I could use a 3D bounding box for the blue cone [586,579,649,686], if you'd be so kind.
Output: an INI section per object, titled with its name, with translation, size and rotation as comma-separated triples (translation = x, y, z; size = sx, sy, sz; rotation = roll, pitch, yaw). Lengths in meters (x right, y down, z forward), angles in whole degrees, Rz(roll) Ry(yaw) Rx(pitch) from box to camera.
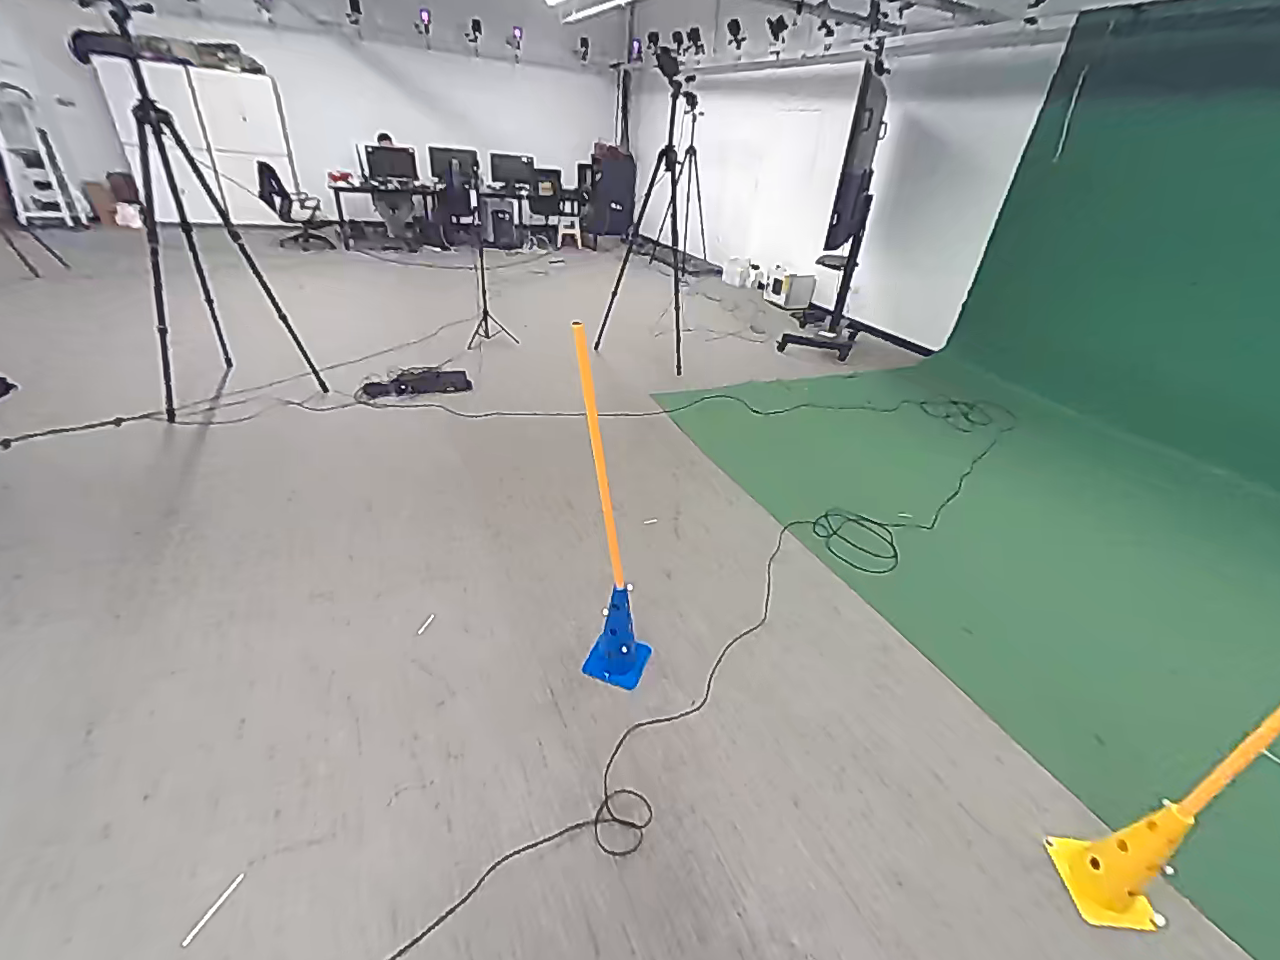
[blue cone]
translation = -0.071, 0.486, 1.793
size = 0.193, 0.380, 0.192
rotation = 13, 34, 15
